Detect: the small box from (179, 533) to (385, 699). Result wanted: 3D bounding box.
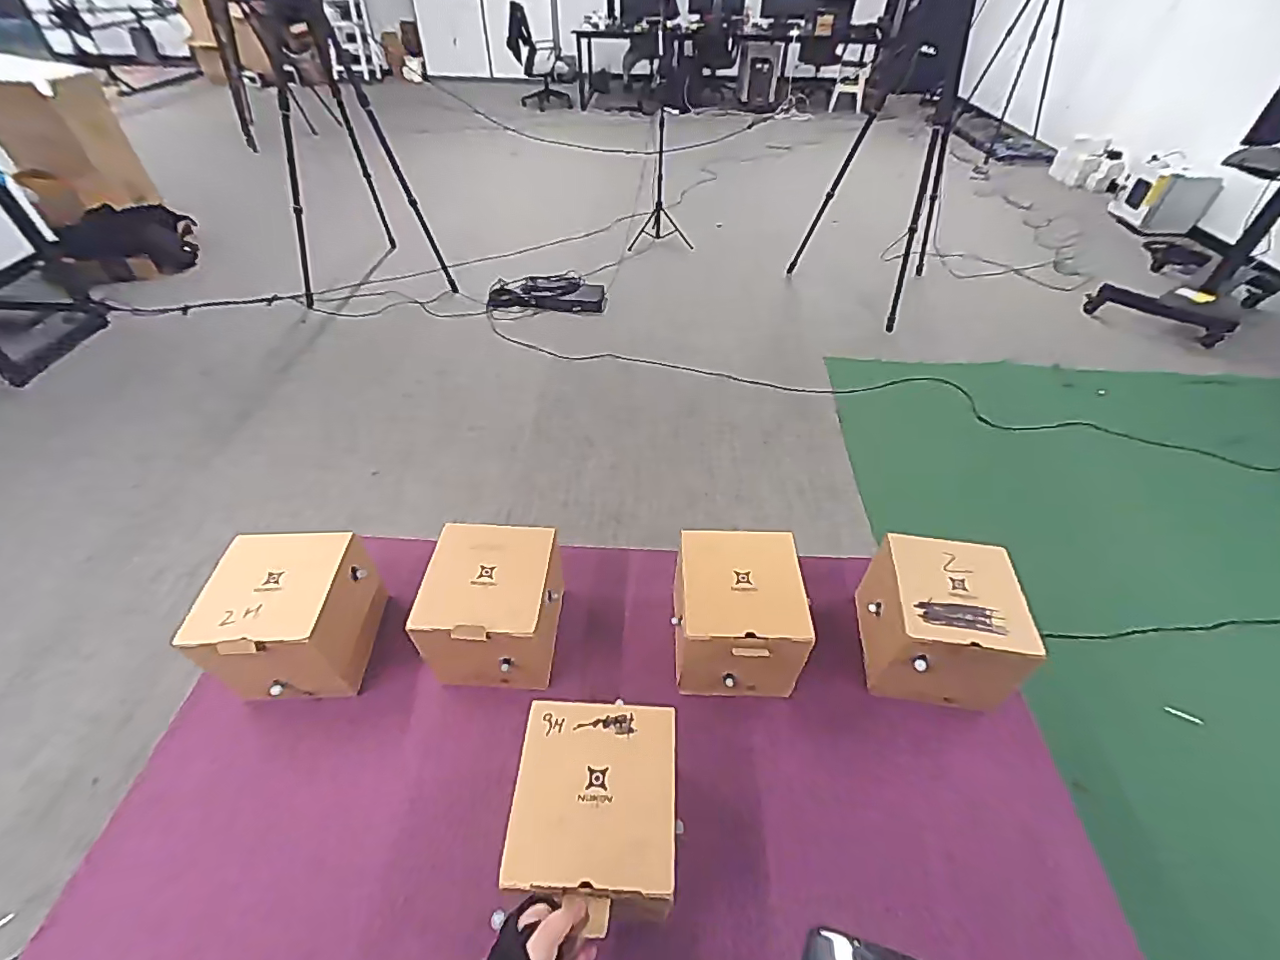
[{"bbox_3d":[-0.491,0.196,0.780,0.168,0.176,0.179,-2,46,-2],"label":"small box"}]

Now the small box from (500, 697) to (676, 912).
[{"bbox_3d":[-0.046,0.369,0.614,0.168,0.176,0.179,3,46,1],"label":"small box"}]

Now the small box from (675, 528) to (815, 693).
[{"bbox_3d":[0.140,0.190,0.794,0.168,0.176,0.179,0,46,0],"label":"small box"}]

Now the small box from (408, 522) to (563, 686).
[{"bbox_3d":[-0.210,0.185,0.796,0.168,0.176,0.179,3,45,1],"label":"small box"}]
